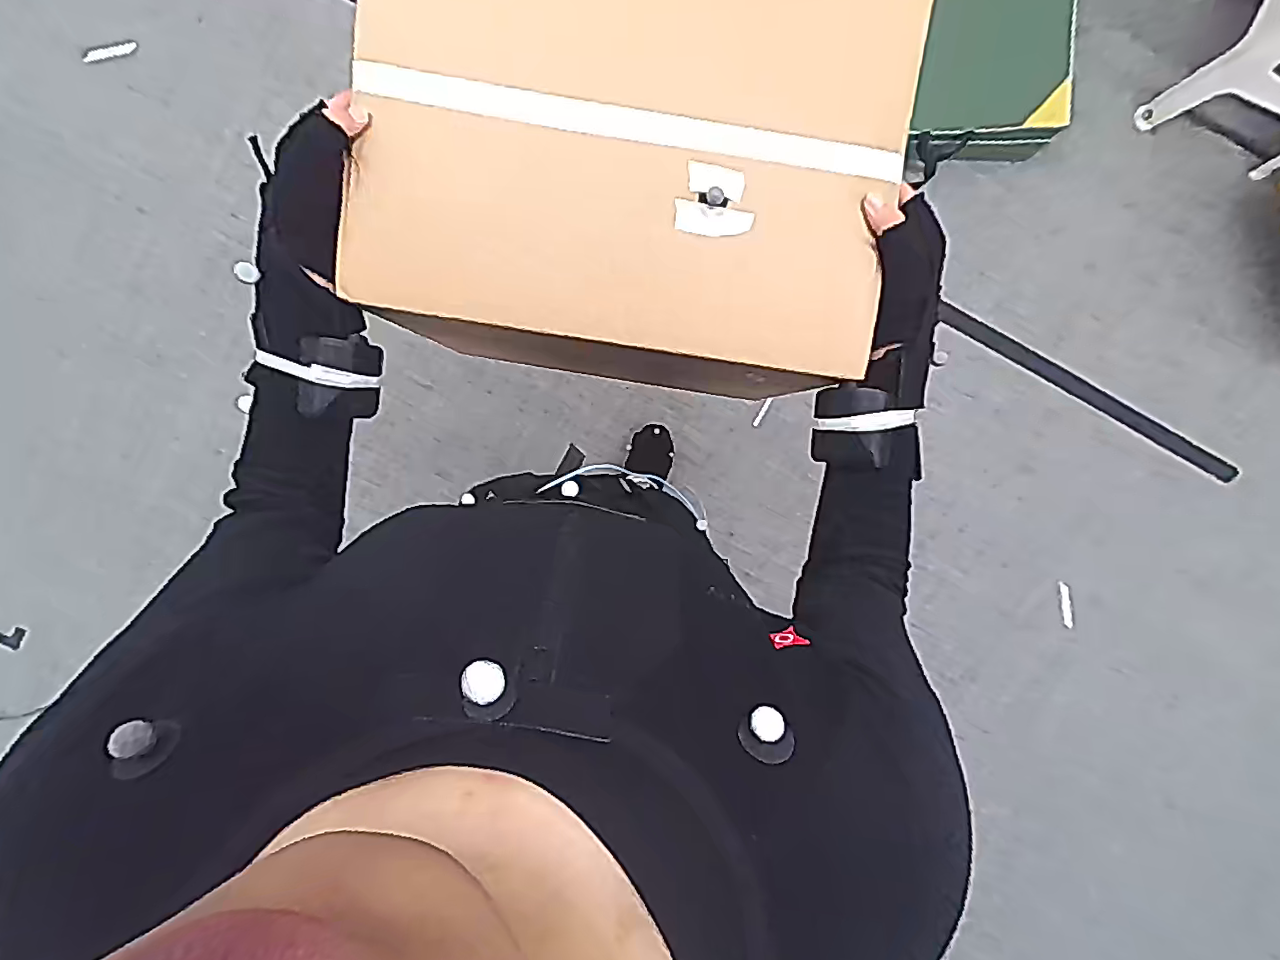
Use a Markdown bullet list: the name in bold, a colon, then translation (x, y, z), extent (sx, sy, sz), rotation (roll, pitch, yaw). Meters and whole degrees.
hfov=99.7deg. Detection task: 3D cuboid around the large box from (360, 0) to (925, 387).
- **large box**: translation (-0.006, -0.284, 0.553), extent (0.408, 0.320, 0.320), rotation (8, 97, -4)
